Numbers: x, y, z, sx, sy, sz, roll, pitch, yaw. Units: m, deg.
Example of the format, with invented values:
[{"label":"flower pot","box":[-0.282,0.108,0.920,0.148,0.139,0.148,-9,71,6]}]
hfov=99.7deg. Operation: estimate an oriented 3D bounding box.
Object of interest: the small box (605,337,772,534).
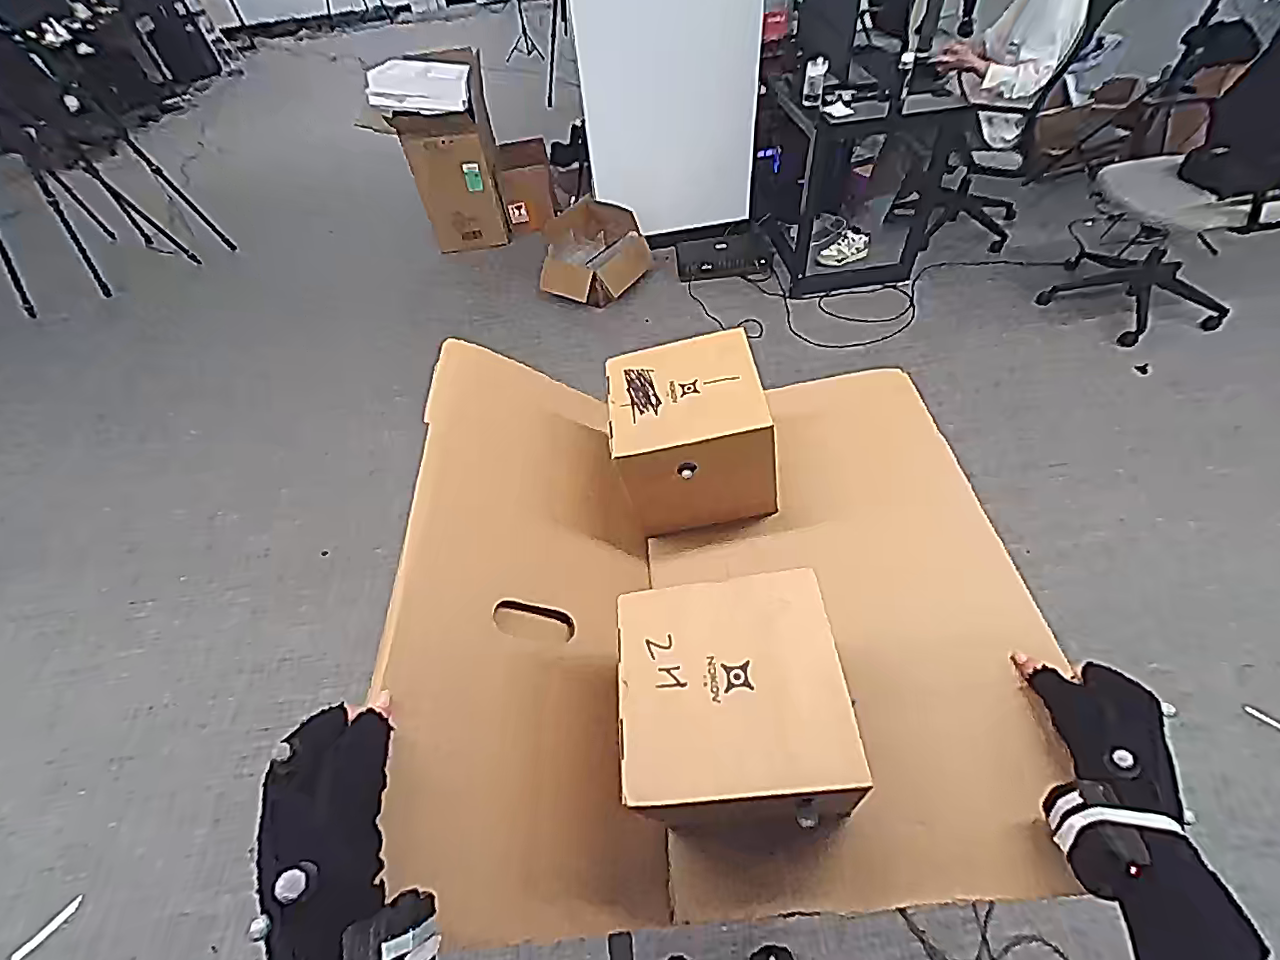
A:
[{"label":"small box","box":[0.063,-0.049,0.688,0.179,0.176,0.168,-12,52,7]}]
